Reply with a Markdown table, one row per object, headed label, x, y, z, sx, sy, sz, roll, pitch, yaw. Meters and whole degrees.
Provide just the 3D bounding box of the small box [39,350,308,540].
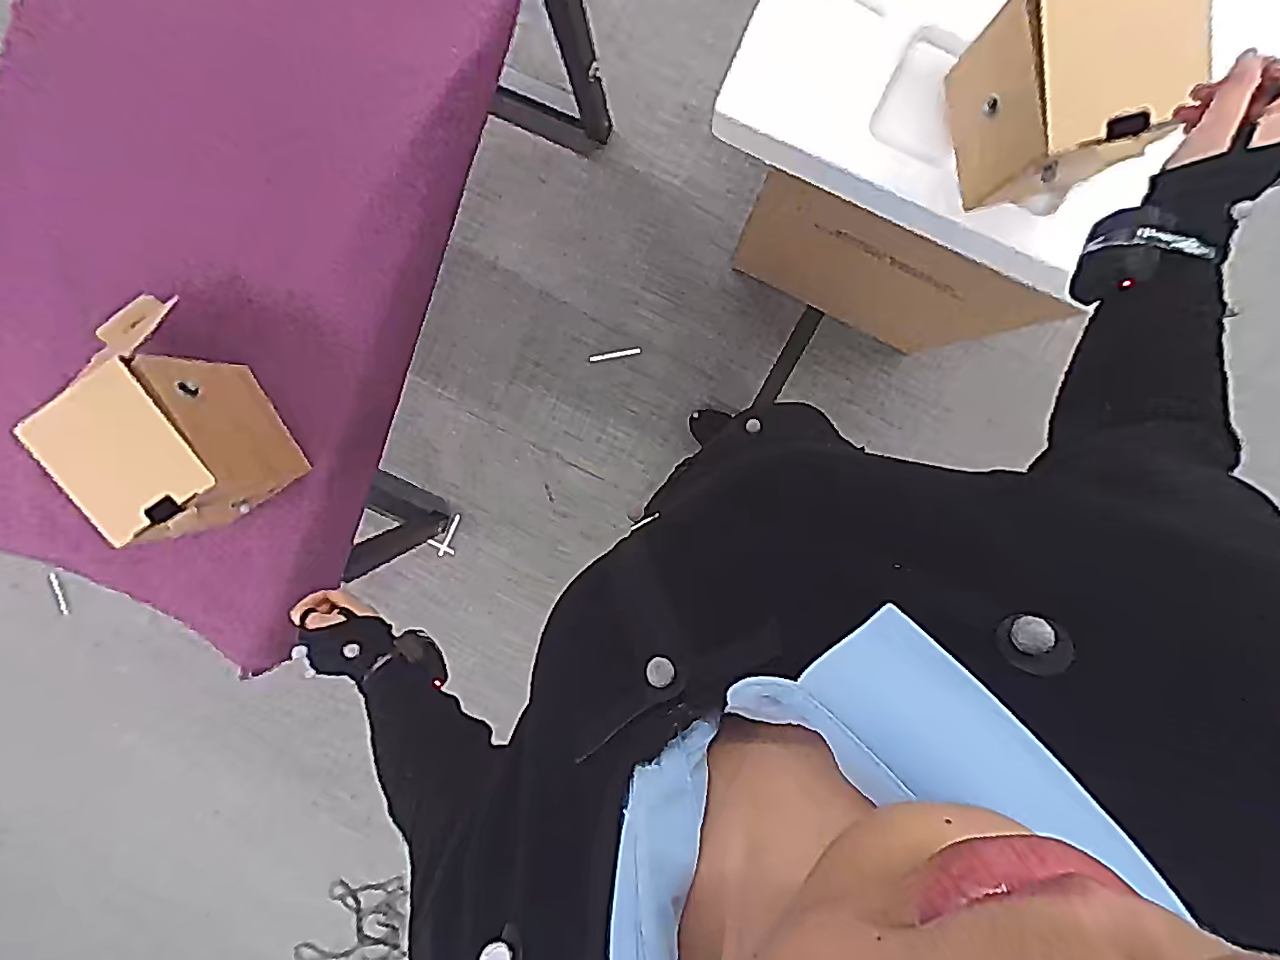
| label | x | y | z | sx | sy | sz | roll | pitch | yaw |
| --- | --- | --- | --- | --- | --- | --- | --- | --- | --- |
| small box | -0.598 | -0.047 | 0.718 | 0.168 | 0.176 | 0.179 | -30 | 94 | 8 |
